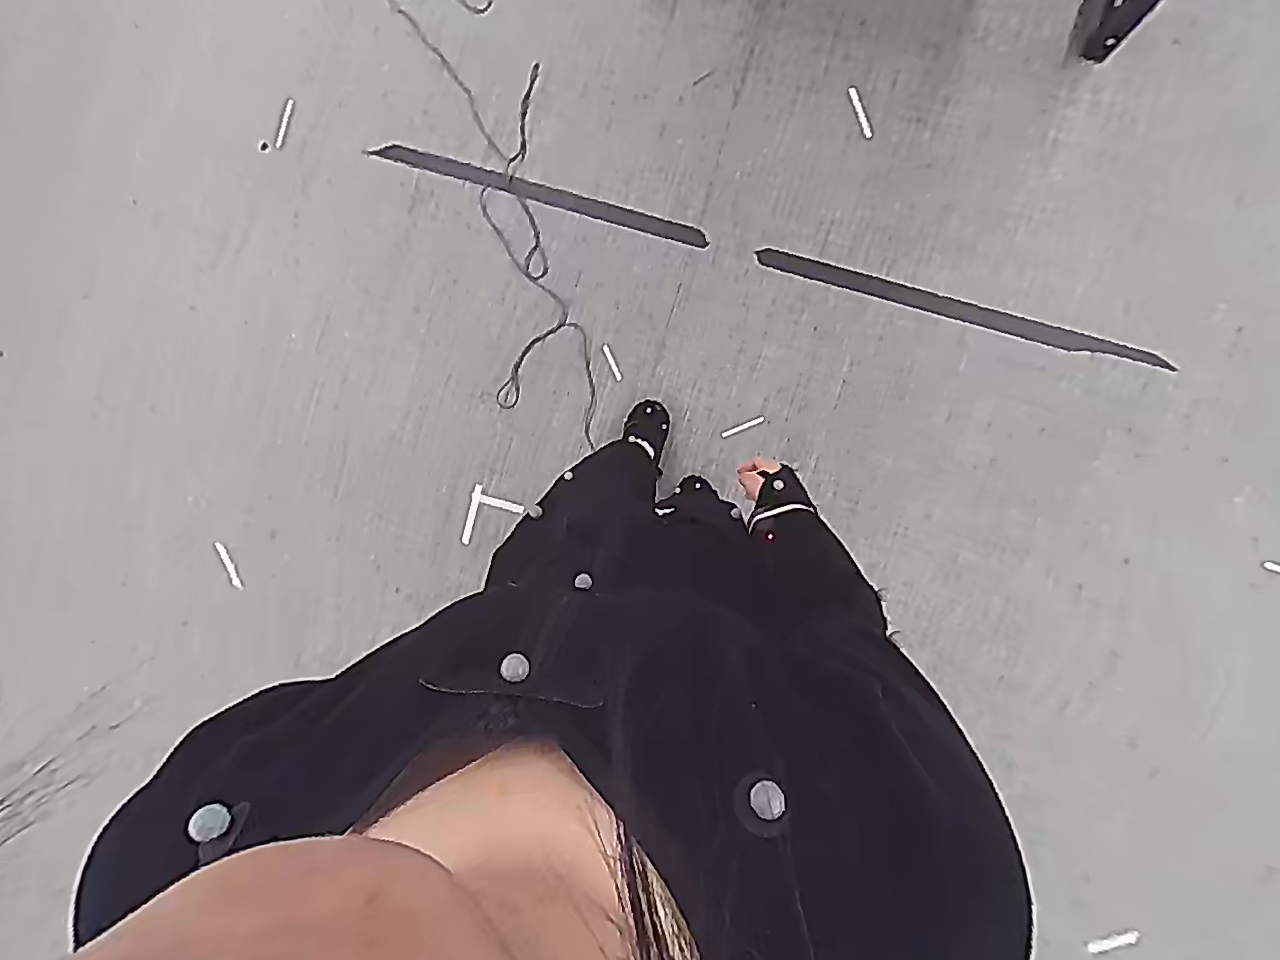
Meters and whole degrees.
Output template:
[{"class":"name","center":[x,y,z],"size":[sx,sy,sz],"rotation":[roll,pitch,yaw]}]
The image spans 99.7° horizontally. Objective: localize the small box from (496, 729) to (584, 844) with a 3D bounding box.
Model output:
[{"class":"small box","center":[-0.251,0.781,1.392],"size":[0.168,0.176,0.179],"rotation":[12,92,5]}]
